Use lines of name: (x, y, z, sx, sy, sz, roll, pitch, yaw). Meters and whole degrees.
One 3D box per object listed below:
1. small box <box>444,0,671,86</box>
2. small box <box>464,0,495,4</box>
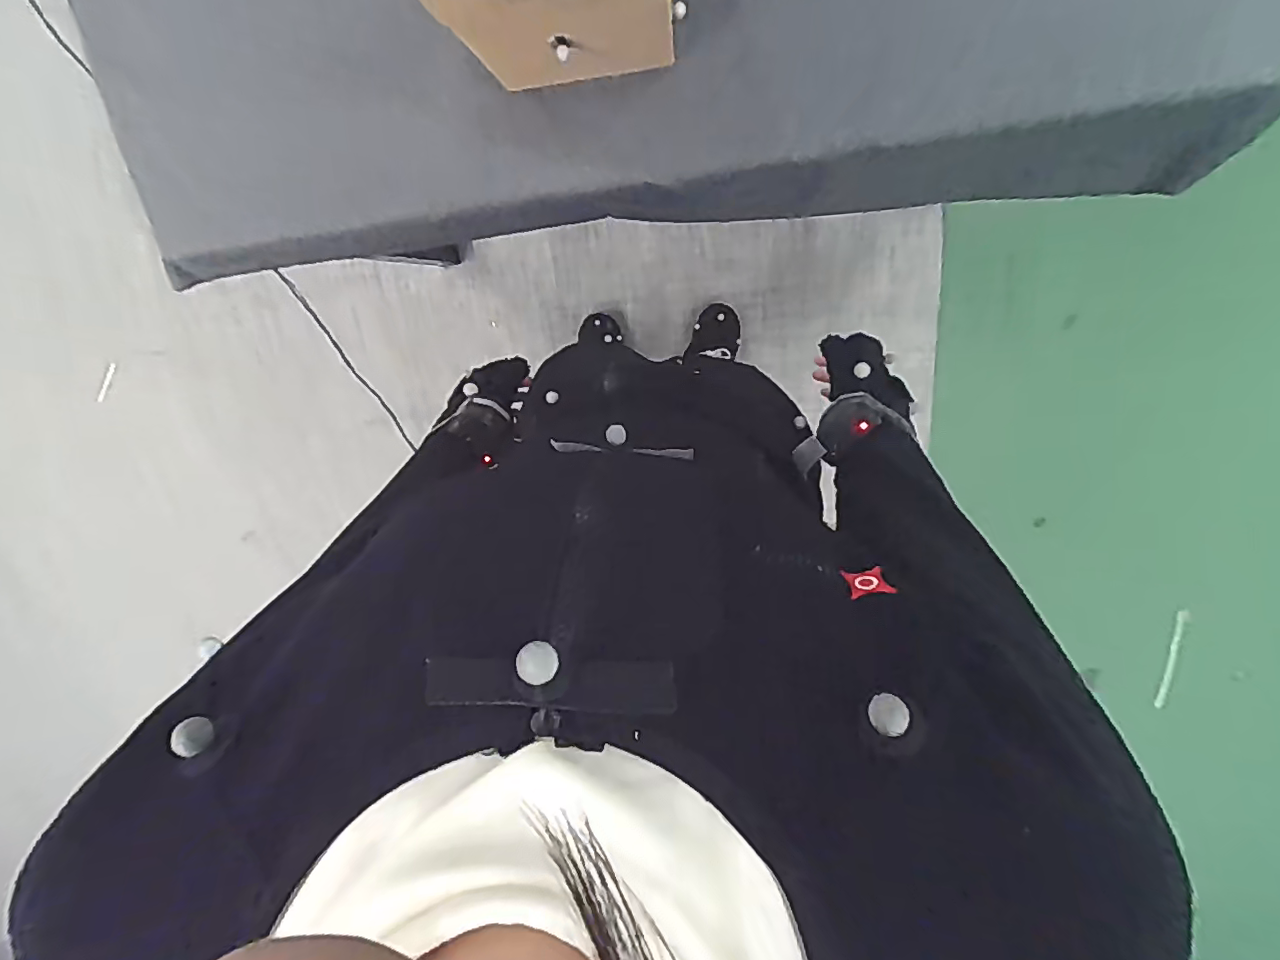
small box: (-0.066, -0.472, 0.463, 0.179, 0.176, 0.168, -4, 108, 8)
small box: (-0.088, -0.420, 0.310, 0.168, 0.176, 0.179, -5, 108, 8)
